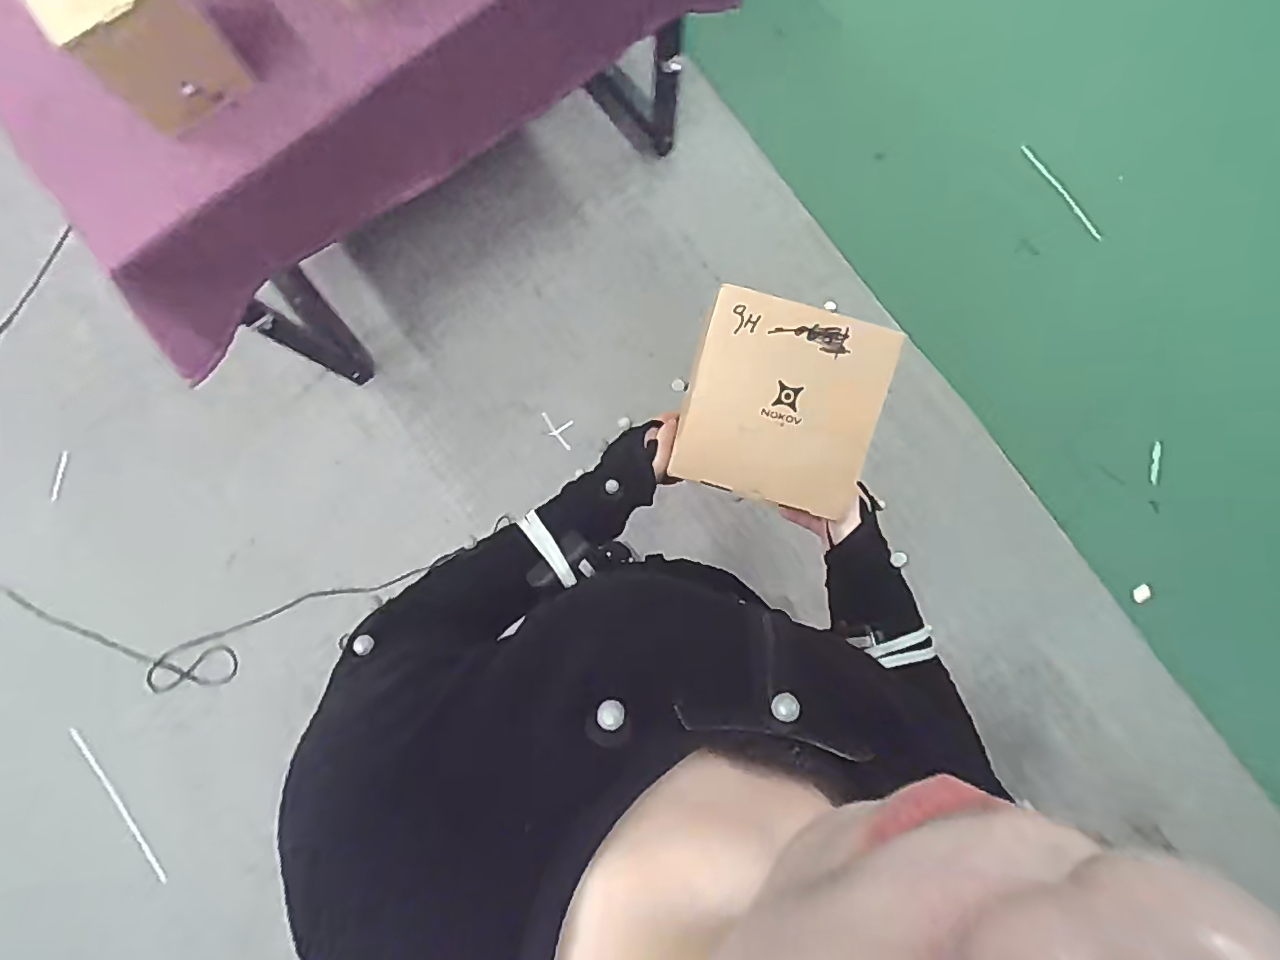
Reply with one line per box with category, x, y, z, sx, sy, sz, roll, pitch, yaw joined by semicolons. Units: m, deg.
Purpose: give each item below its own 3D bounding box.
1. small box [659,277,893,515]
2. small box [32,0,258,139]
small box;0.121;-0.082;0.551;0.168;0.176;0.179;14;98;0
small box;-0.716;-0.652;0.783;0.168;0.176;0.179;-37;85;-3
